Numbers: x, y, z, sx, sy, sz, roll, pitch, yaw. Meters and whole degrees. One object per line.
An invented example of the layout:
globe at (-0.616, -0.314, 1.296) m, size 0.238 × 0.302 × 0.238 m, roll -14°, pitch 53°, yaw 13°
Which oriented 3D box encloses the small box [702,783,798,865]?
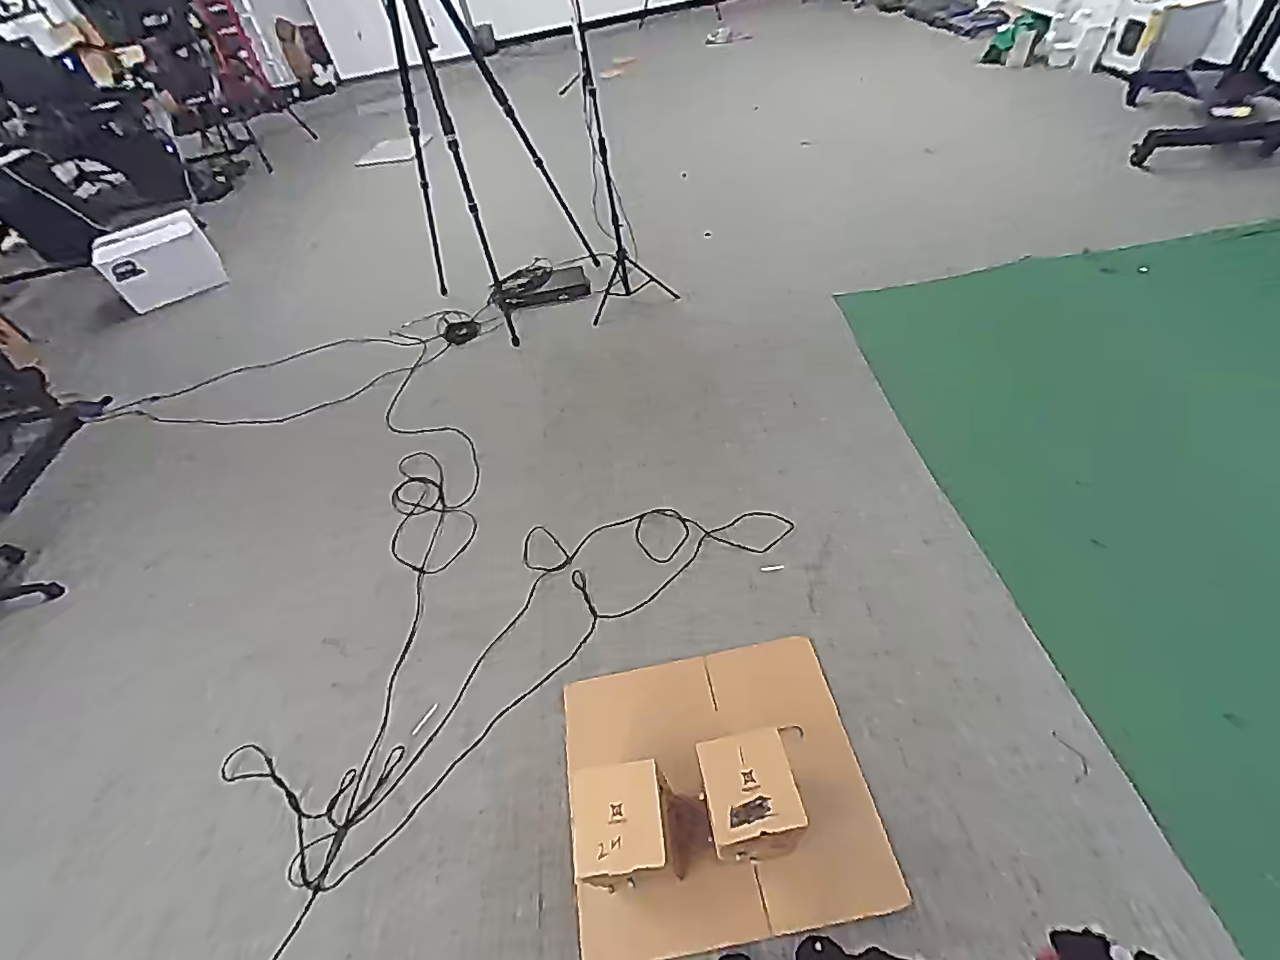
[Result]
small box at (0.232, 0.719, 1.188) m, size 0.168 × 0.176 × 0.179 m, roll -12°, pitch 50°, yaw -1°

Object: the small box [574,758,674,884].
small box at (-0.031, 0.669, 1.058) m, size 0.168 × 0.176 × 0.179 m, roll -10°, pitch 49°, yaw 3°

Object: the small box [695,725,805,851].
small box at (0.211, 0.611, 1.065) m, size 0.168 × 0.176 × 0.179 m, roll -13°, pitch 49°, yaw -1°
